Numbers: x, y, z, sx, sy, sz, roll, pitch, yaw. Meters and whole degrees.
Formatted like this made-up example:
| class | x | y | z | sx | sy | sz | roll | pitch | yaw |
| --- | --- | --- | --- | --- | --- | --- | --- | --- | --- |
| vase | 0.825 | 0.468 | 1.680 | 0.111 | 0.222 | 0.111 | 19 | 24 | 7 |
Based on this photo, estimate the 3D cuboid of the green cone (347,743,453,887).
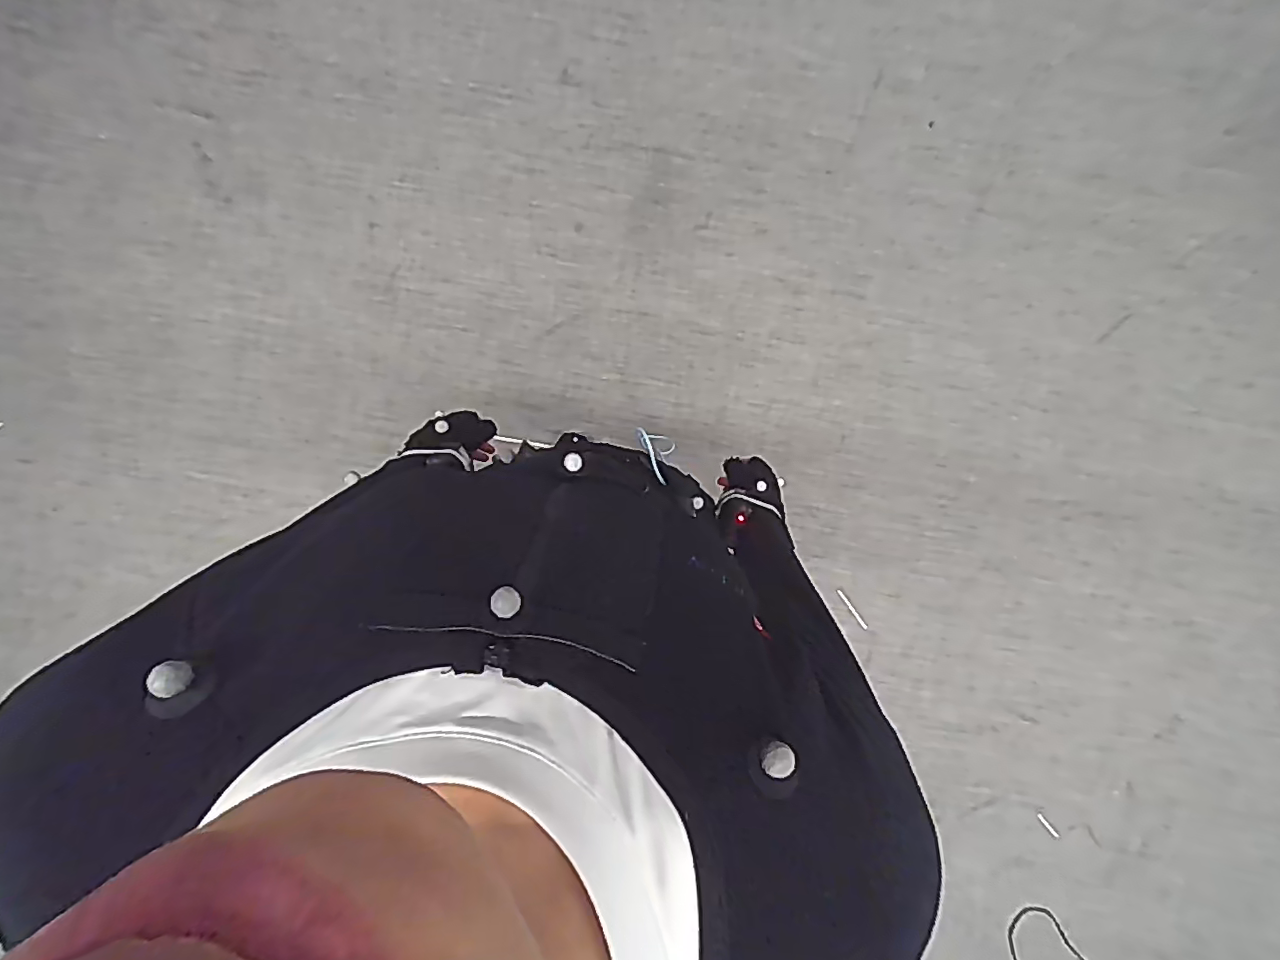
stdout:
| class | x | y | z | sx | sy | sz | roll | pitch | yaw |
| --- | --- | --- | --- | --- | --- | --- | --- | --- | --- |
| green cone | -0.634 | 0.862 | 1.360 | 0.202 | 0.368 | 0.200 | 8 | 94 | -3 |
